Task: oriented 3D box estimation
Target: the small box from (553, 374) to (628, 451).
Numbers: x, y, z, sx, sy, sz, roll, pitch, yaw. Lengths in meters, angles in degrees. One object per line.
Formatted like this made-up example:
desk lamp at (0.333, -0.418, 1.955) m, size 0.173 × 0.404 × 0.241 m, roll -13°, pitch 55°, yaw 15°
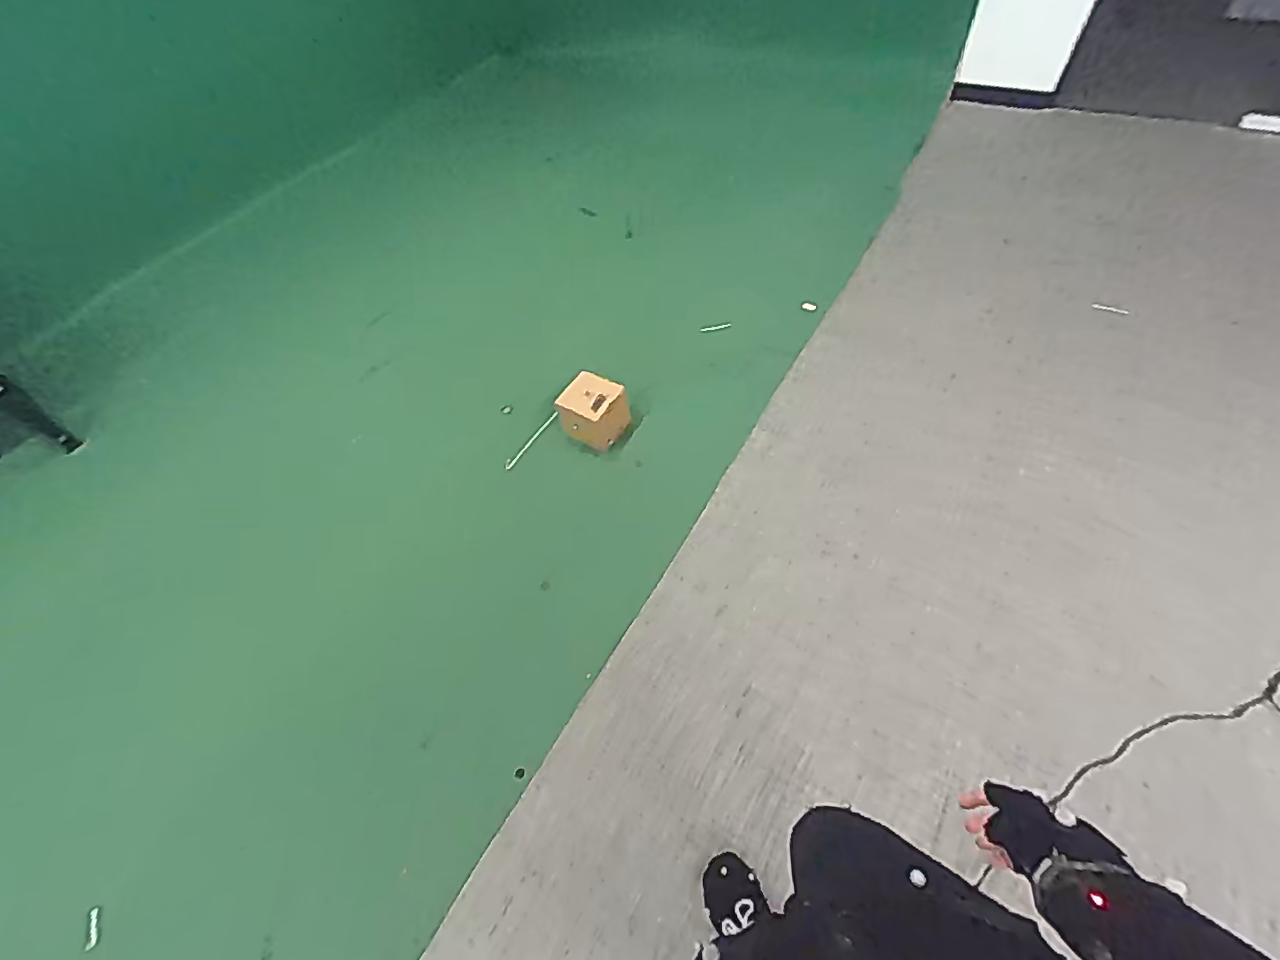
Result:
small box at (-0.159, -0.221, 1.822) m, size 0.179 × 0.176 × 0.168 m, roll 25°, pitch 63°, yaw 23°
